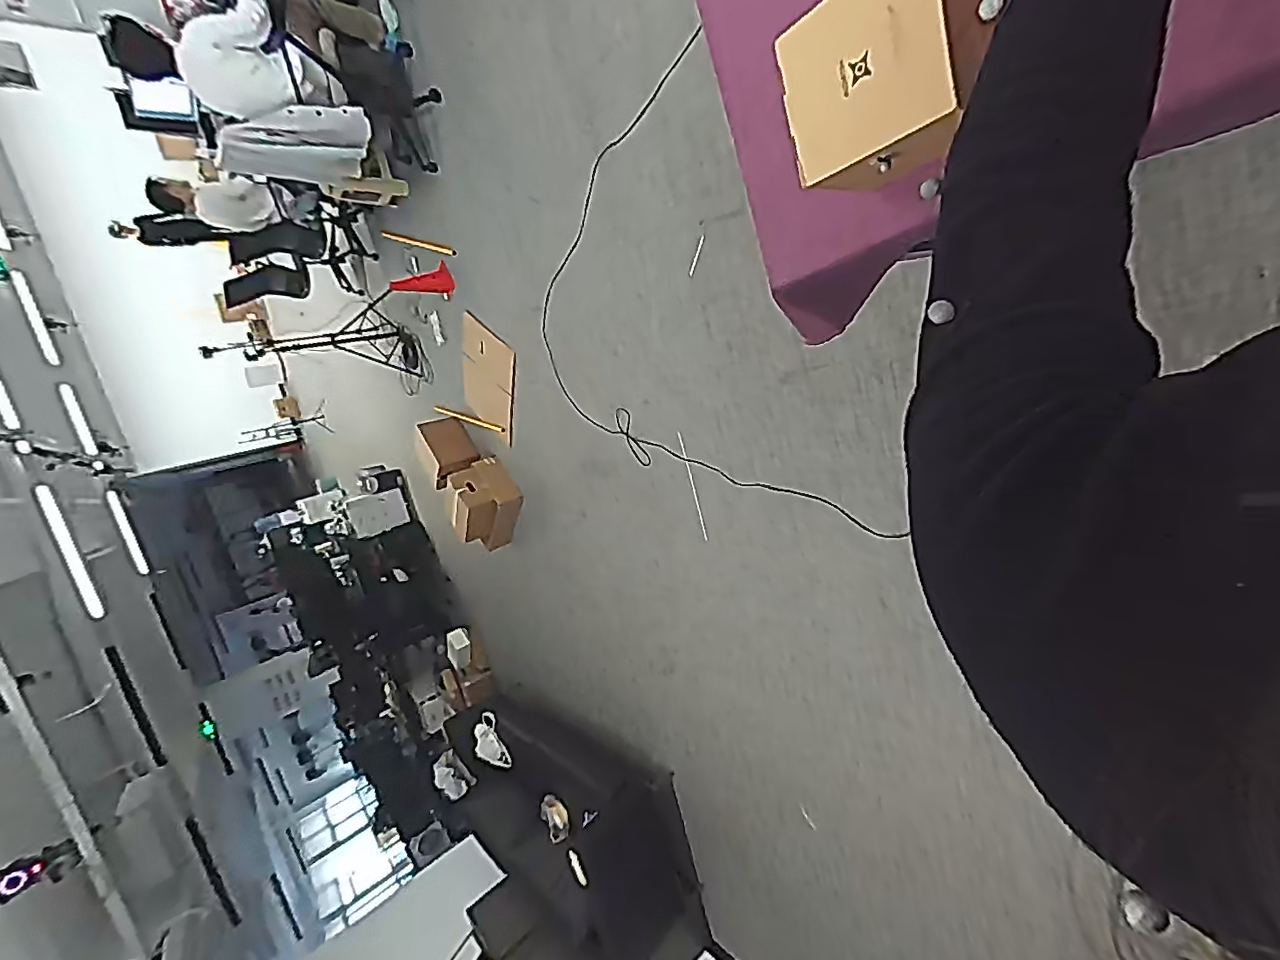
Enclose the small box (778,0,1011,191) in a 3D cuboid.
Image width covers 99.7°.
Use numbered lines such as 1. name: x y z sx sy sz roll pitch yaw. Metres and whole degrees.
1. small box: 0.291 -0.450 0.621 0.179 0.176 0.168 -2 106 51
